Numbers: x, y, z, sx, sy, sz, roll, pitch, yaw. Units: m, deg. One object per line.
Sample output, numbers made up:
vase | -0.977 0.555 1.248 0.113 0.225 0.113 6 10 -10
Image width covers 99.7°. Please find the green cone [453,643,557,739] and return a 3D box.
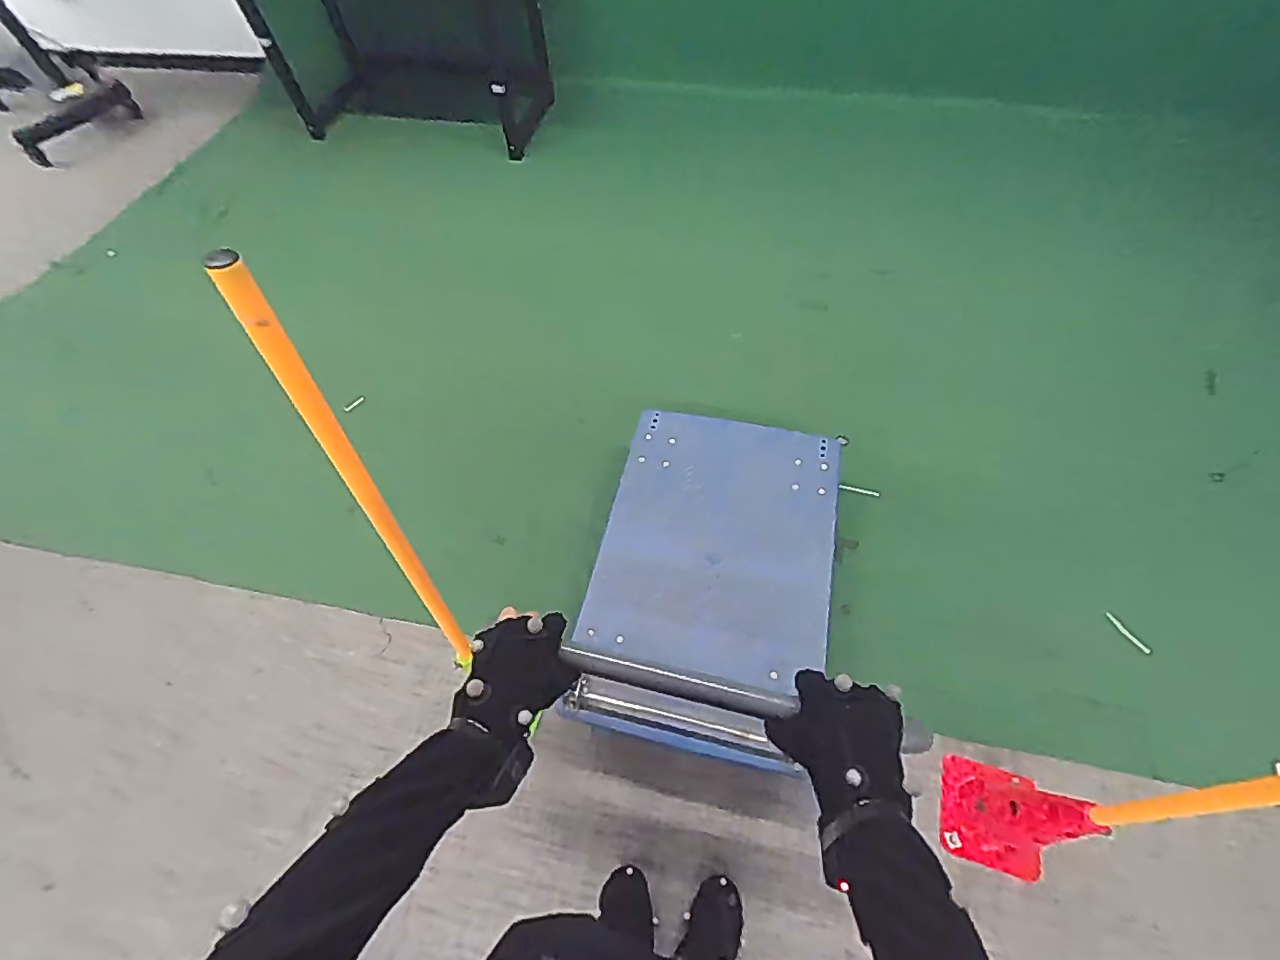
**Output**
green cone | -0.342 0.442 1.237 0.202 0.368 0.200 13 59 12
